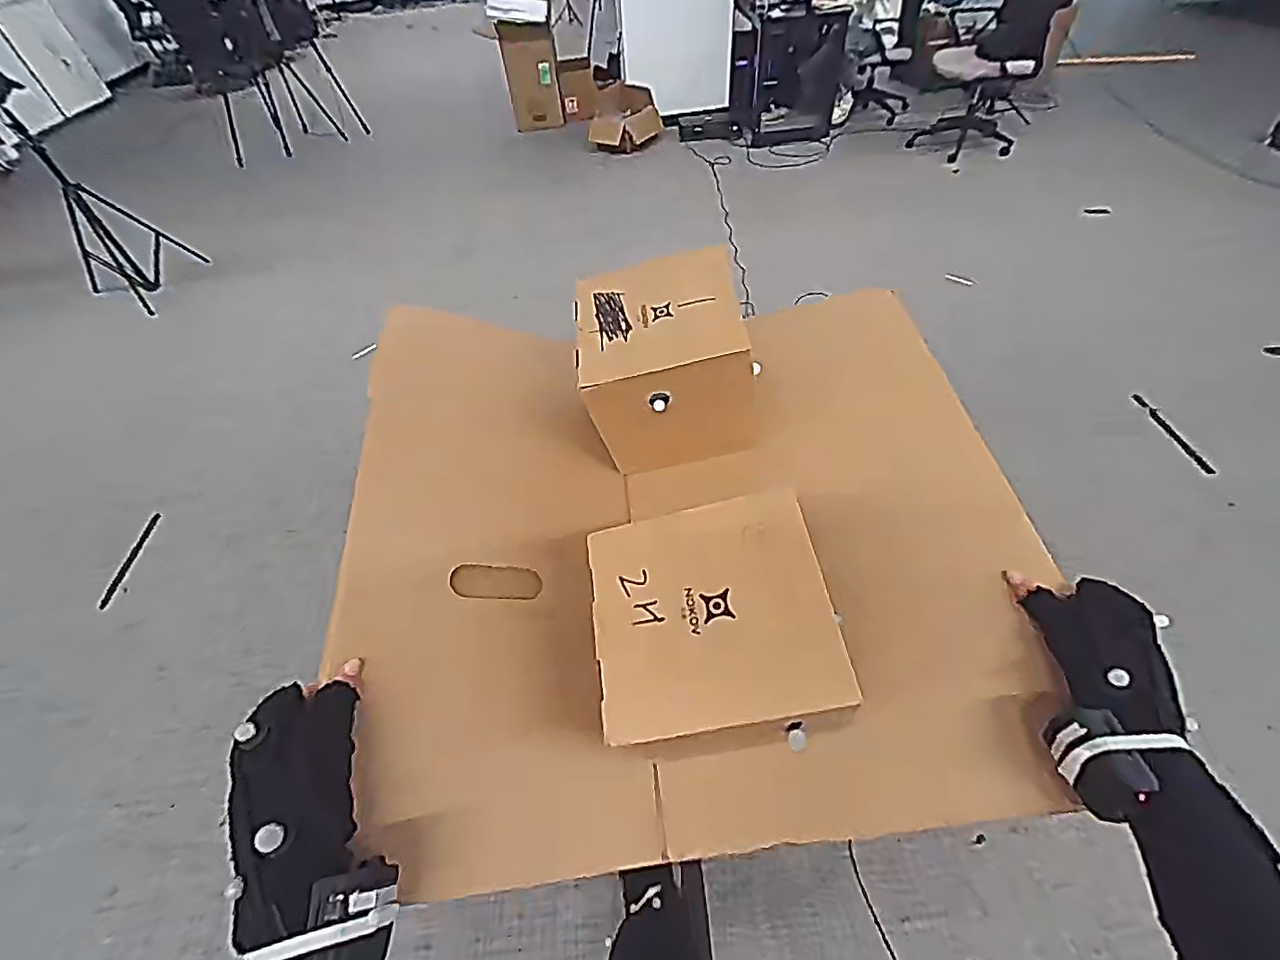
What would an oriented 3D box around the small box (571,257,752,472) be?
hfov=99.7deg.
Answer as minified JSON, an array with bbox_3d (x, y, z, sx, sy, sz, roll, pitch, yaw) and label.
[{"bbox_3d":[0.028,-0.127,0.648,0.179,0.176,0.168,-12,57,9],"label":"small box"}]

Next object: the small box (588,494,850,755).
[{"bbox_3d":[0.067,0.137,0.478,0.179,0.176,0.168,-14,57,9],"label":"small box"}]
